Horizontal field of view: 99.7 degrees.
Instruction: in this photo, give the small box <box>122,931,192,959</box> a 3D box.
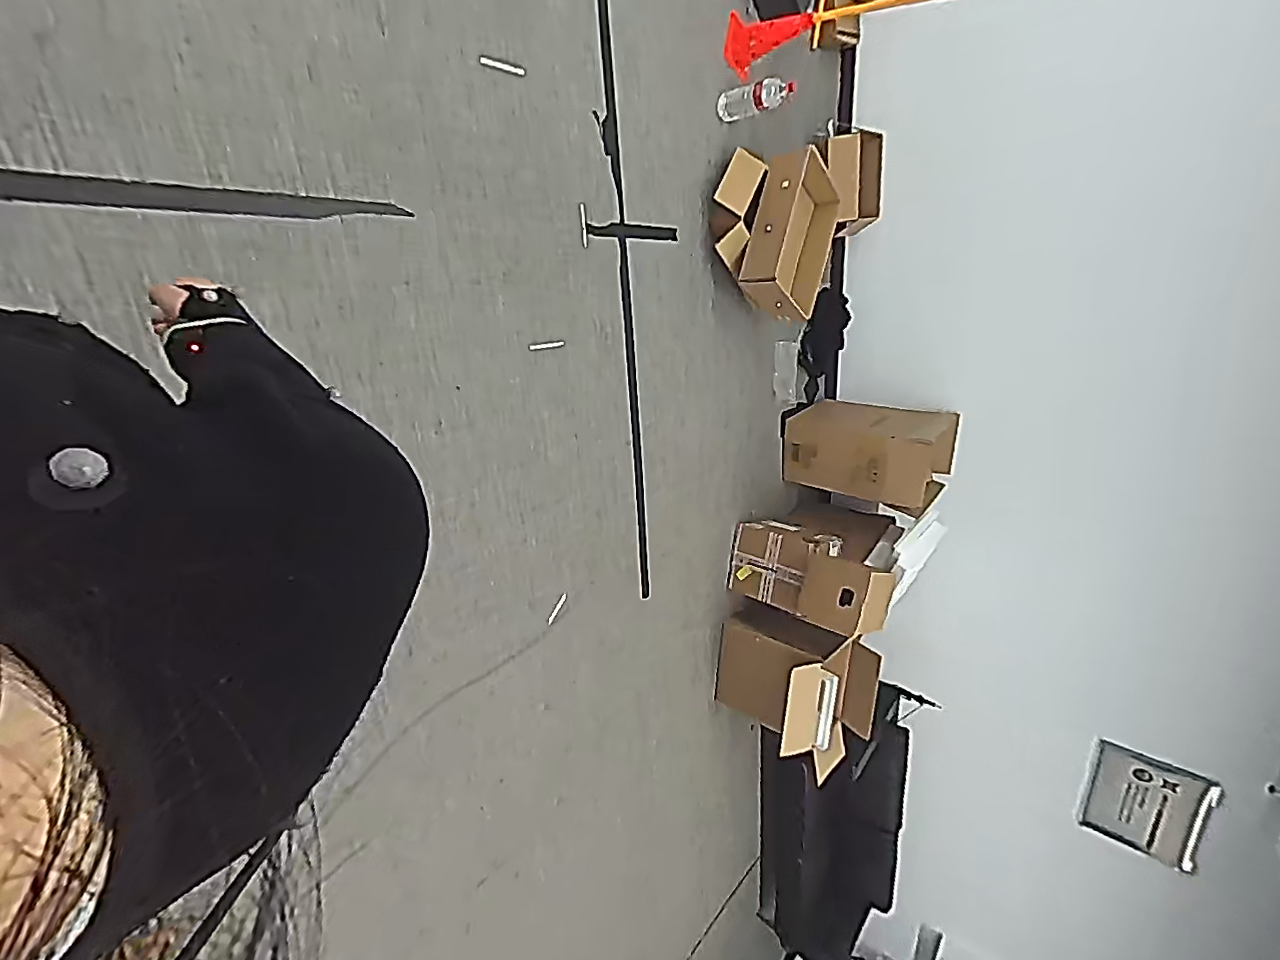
[{"bbox_3d":[-1.144,1.211,1.255,0.168,0.176,0.179,-26,119,-42],"label":"small box"}]
